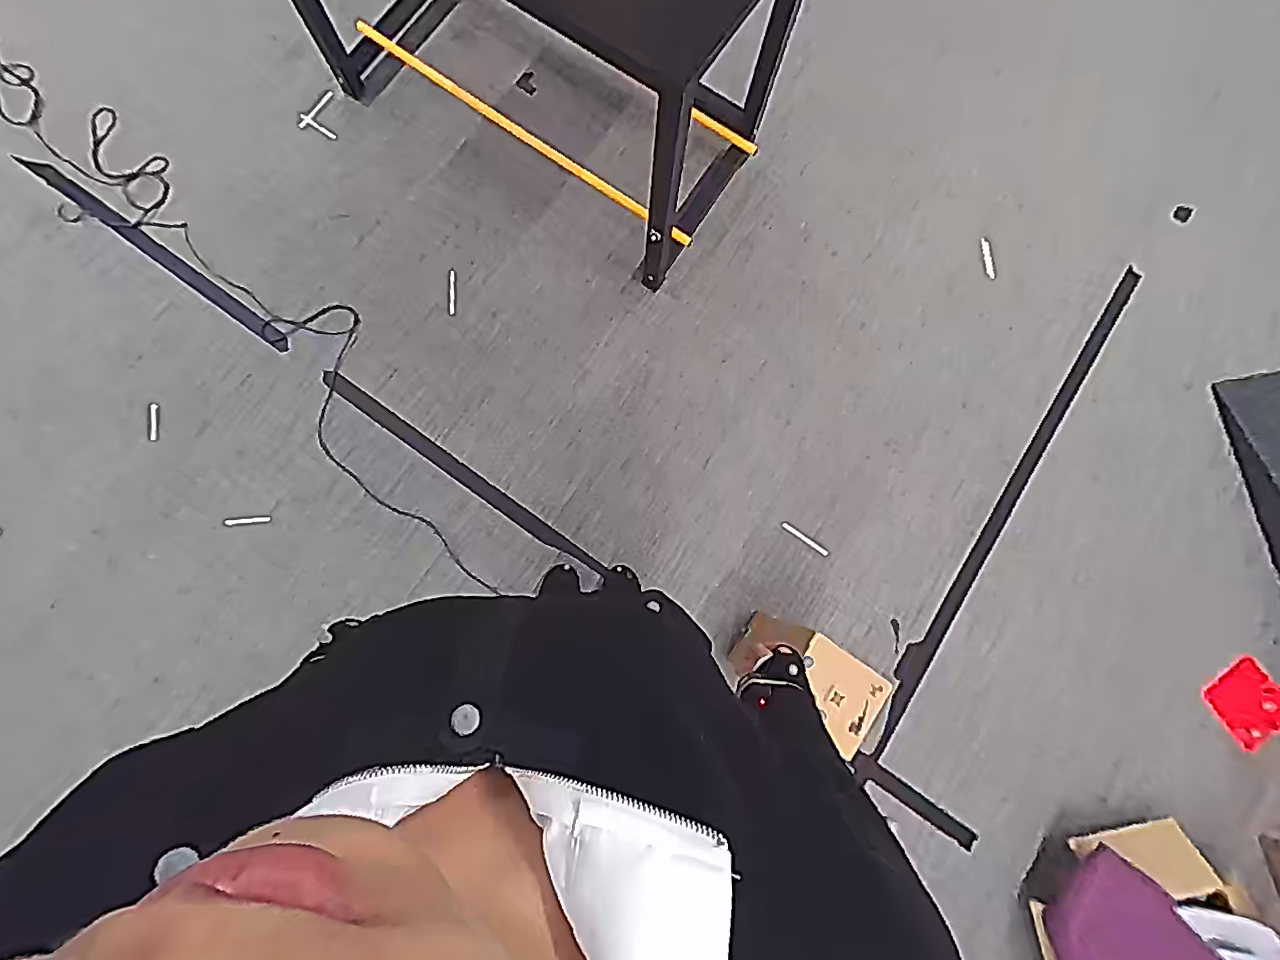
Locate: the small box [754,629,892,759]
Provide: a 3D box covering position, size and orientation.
[{"bbox_3d":[0.355,0.415,1.085,0.179,0.176,0.168,35,80,4],"label":"small box"}]

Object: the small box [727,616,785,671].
[{"bbox_3d":[0.353,0.468,1.410,0.179,0.176,0.168,34,80,4],"label":"small box"}]

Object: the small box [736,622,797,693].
[{"bbox_3d":[0.349,0.443,1.247,0.179,0.176,0.168,35,80,3],"label":"small box"}]
